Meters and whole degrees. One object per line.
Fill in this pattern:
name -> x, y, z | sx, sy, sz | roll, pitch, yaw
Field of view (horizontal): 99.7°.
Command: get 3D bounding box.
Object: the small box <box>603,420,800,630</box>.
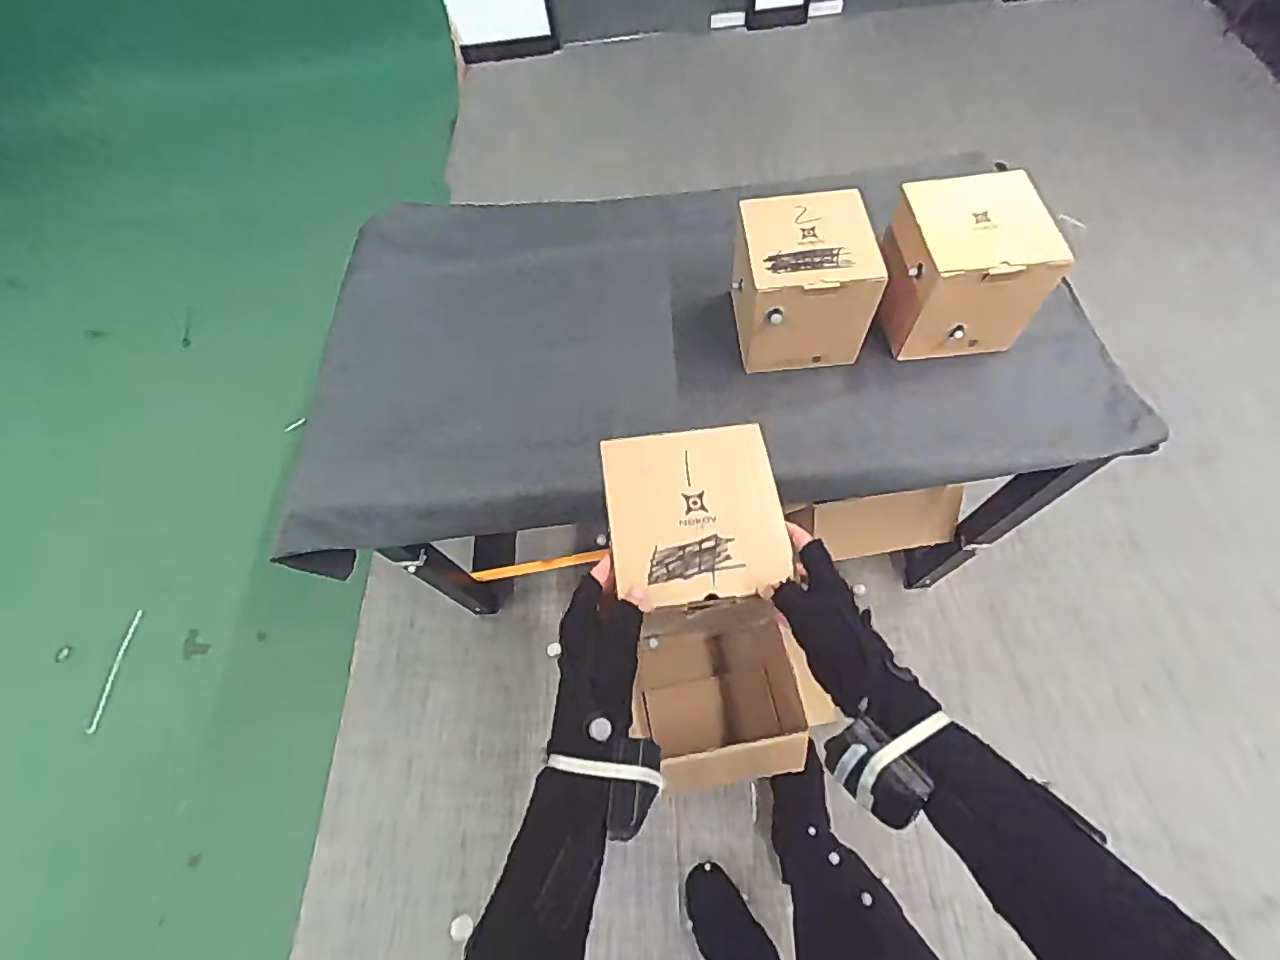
small box -> 0.055, 0.059, 0.587 | 0.168, 0.176, 0.179 | -7, 65, -3

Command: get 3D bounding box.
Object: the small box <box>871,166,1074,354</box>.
small box -> 0.450, -0.306, 0.770 | 0.168, 0.176, 0.179 | -6, 64, 3
